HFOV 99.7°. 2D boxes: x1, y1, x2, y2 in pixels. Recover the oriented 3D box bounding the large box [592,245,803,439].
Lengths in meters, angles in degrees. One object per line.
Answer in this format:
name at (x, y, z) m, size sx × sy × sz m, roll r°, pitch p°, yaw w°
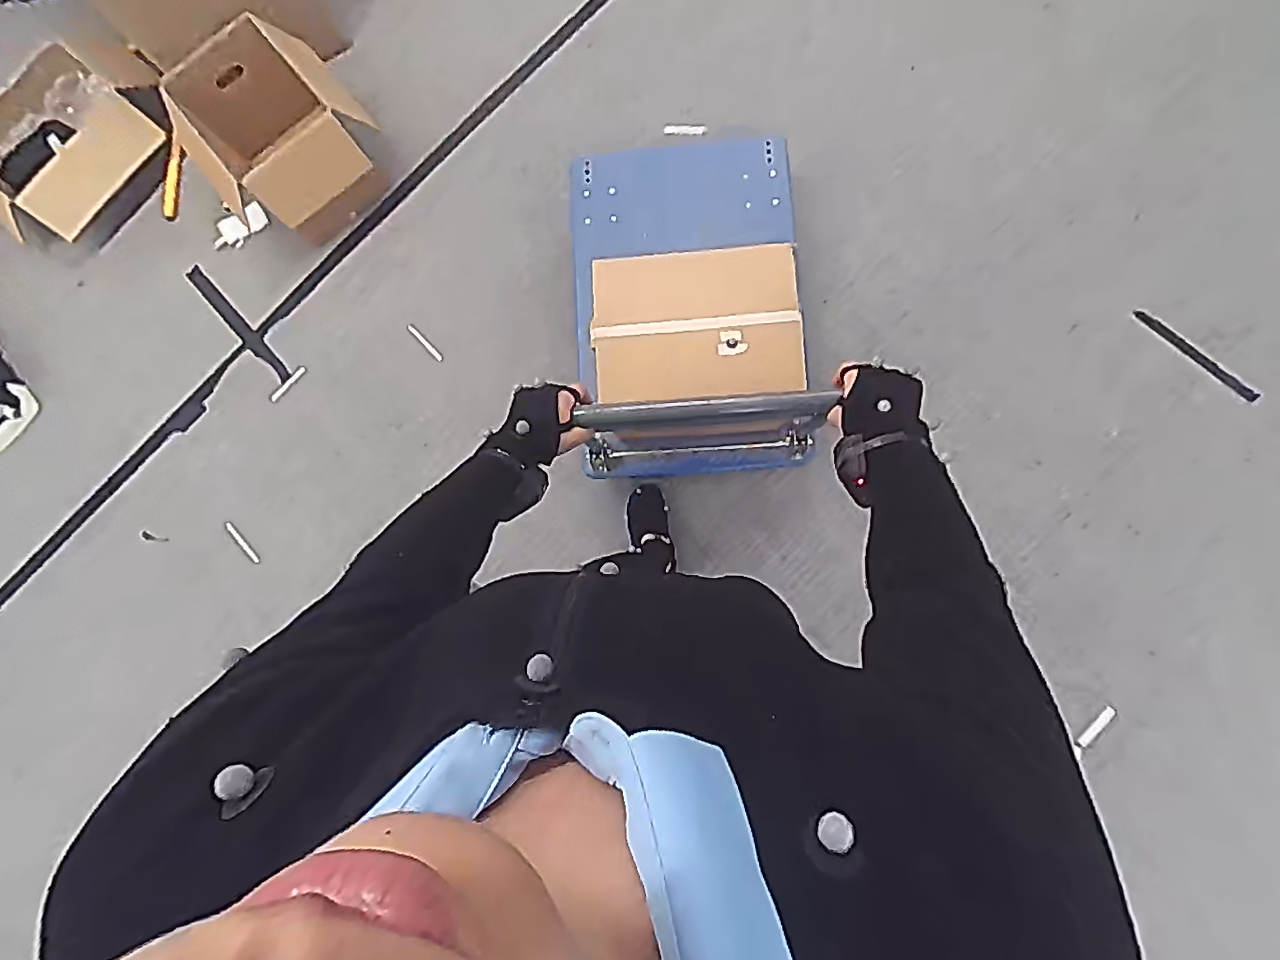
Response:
large box at (0.116, -0.285, 1.218) m, size 0.408 × 0.320 × 0.320 m, roll -4°, pitch 83°, yaw 3°
